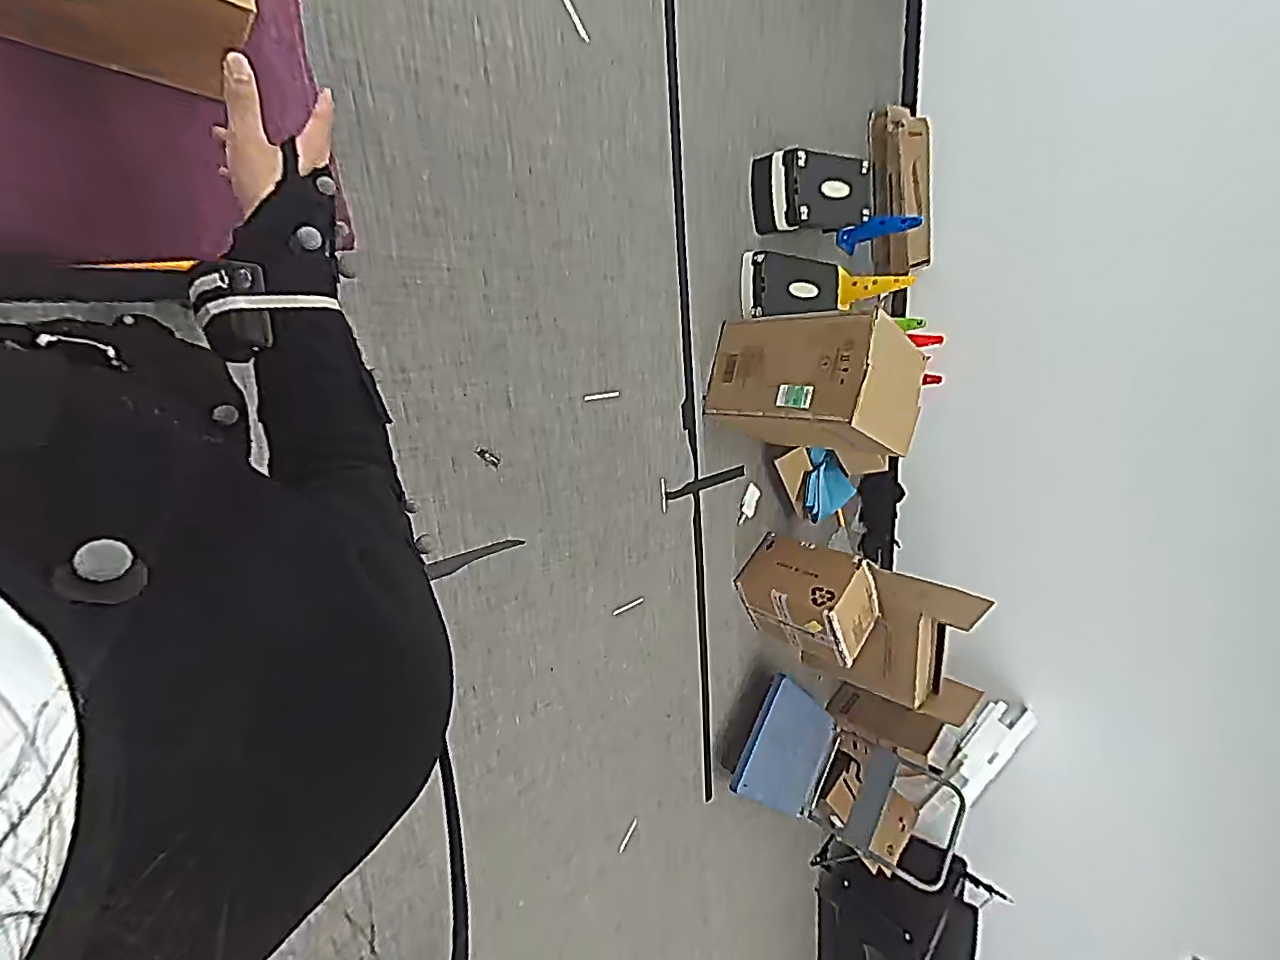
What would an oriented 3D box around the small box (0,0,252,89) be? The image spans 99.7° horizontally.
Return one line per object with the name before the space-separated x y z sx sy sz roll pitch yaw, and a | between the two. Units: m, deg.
small box | -0.396 -0.415 0.375 0.179 0.176 0.168 -9 104 -44
